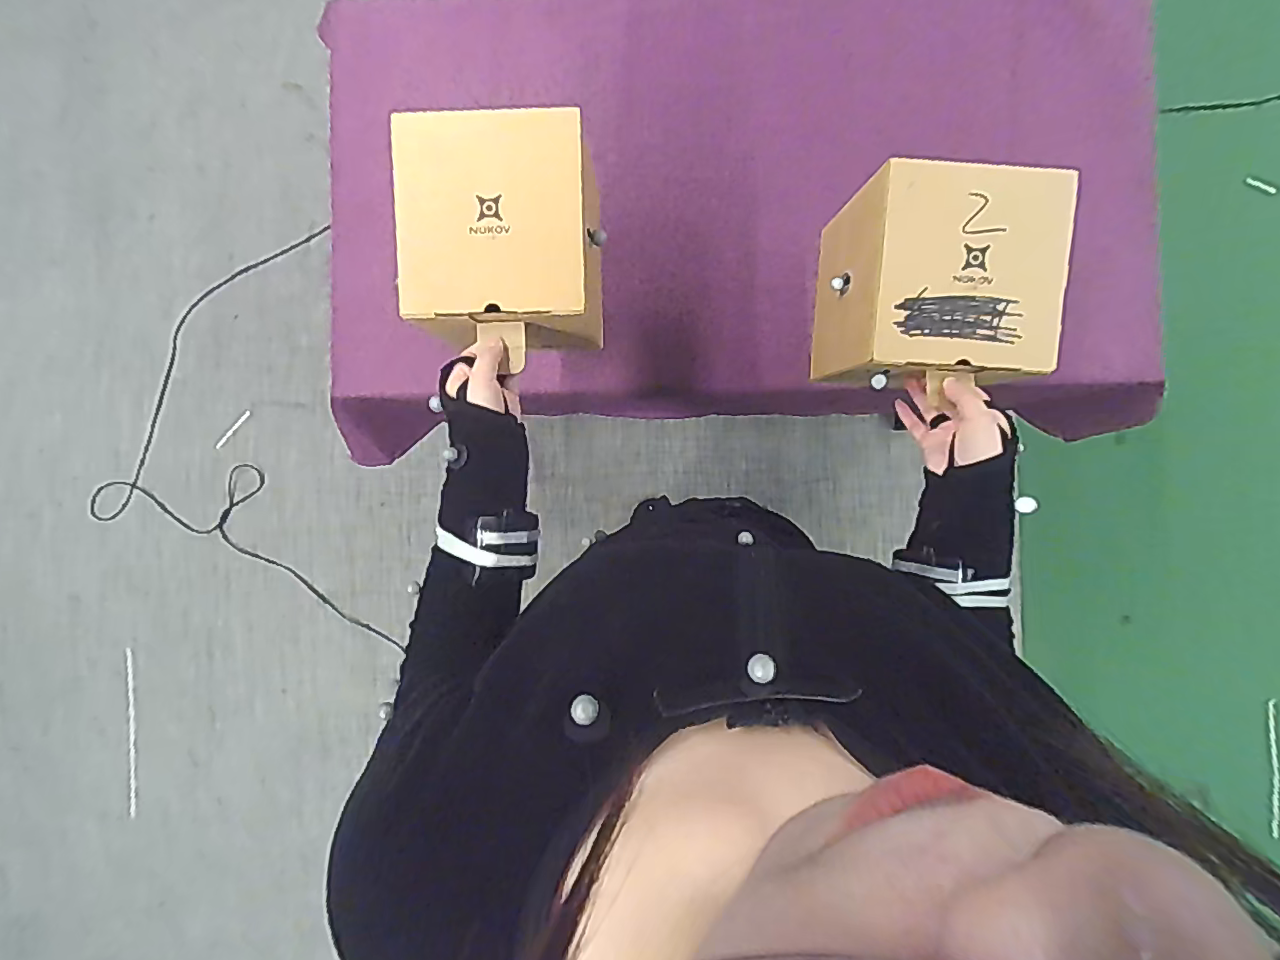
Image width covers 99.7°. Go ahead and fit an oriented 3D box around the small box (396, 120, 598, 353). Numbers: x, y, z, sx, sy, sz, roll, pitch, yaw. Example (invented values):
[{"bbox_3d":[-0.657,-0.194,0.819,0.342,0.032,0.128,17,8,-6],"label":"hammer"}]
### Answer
[{"bbox_3d":[-0.134,-0.236,0.564,0.168,0.176,0.179,-1,94,1],"label":"small box"}]
